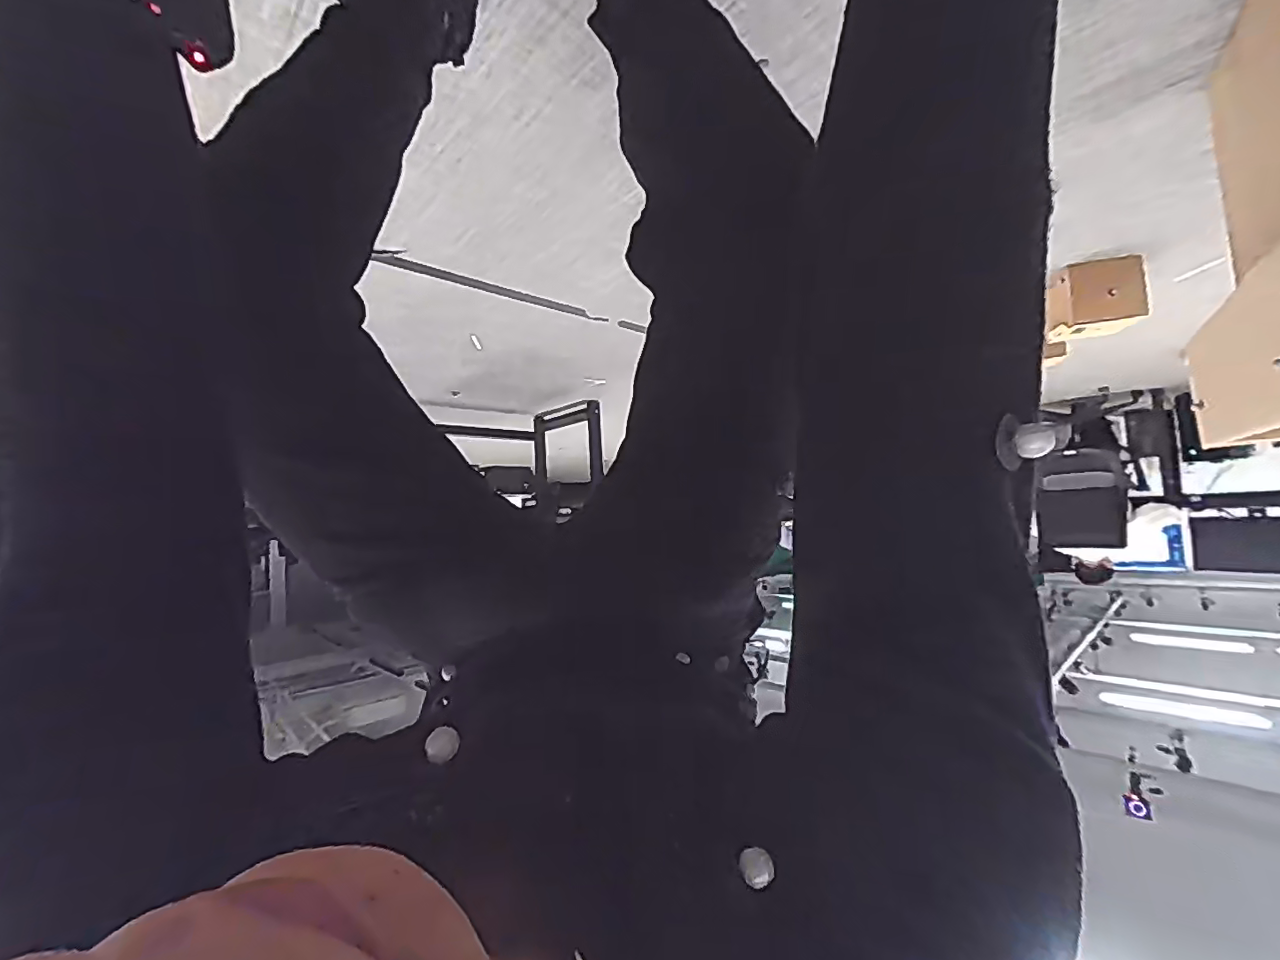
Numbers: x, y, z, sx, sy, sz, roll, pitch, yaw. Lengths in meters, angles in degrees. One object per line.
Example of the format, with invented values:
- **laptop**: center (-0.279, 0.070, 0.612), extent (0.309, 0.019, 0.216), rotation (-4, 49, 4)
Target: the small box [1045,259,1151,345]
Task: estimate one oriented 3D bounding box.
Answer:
- **small box**: center (1.284, -0.500, 1.531), extent (0.179, 0.176, 0.168), rotation (-5, 176, 15)
